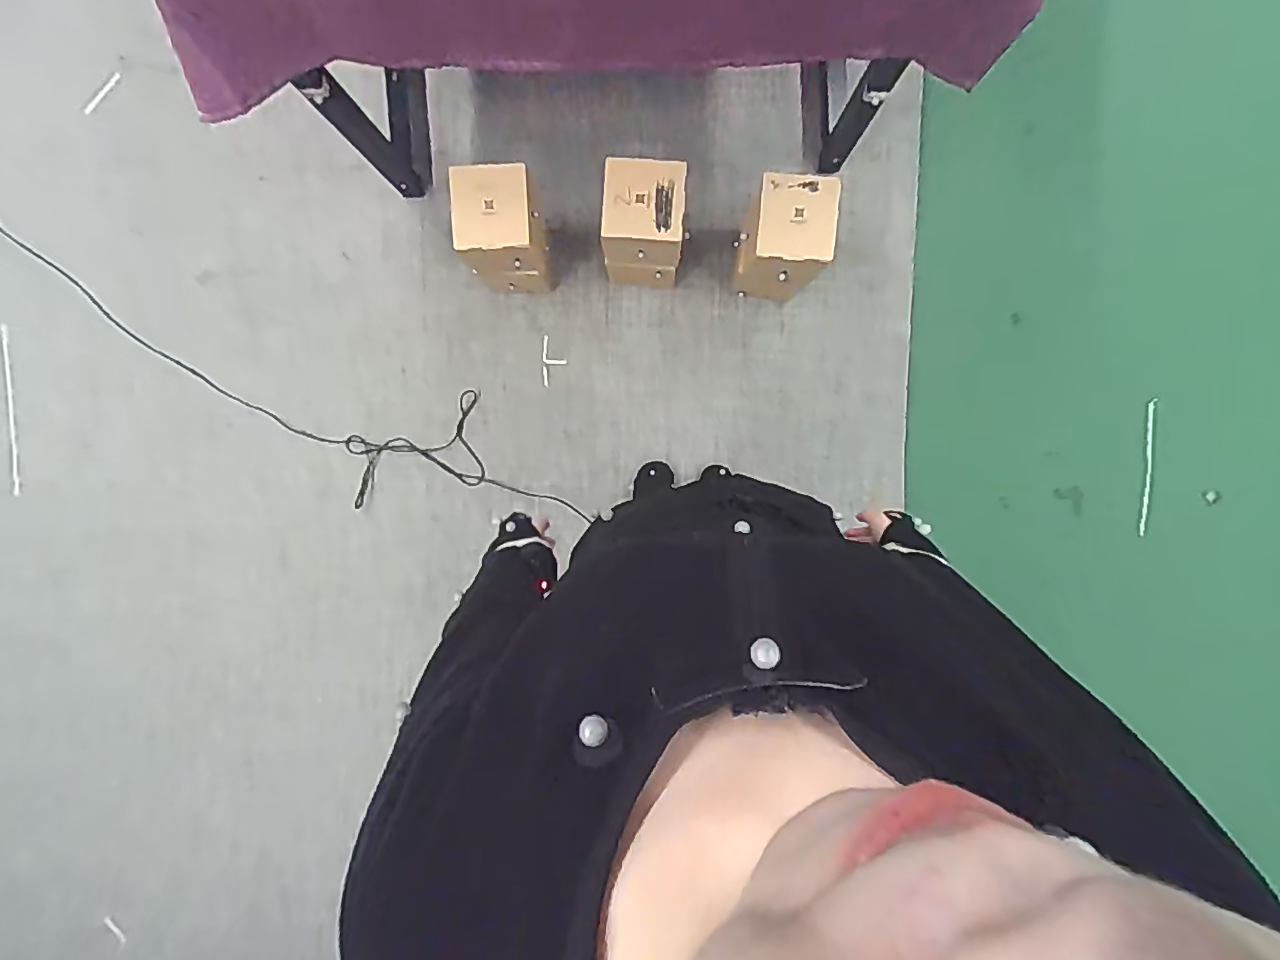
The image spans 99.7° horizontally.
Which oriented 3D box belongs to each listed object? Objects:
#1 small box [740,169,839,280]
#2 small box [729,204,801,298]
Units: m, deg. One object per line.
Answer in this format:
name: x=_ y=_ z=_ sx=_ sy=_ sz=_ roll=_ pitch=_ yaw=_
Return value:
small box: x=0.327 y=-0.563 z=1.216 sx=0.168 sy=0.176 sz=0.179 roll=5 pitch=95 yaw=-1
small box: x=0.328 y=-0.579 z=1.381 sx=0.168 sy=0.176 sz=0.179 roll=9 pitch=93 yaw=1
